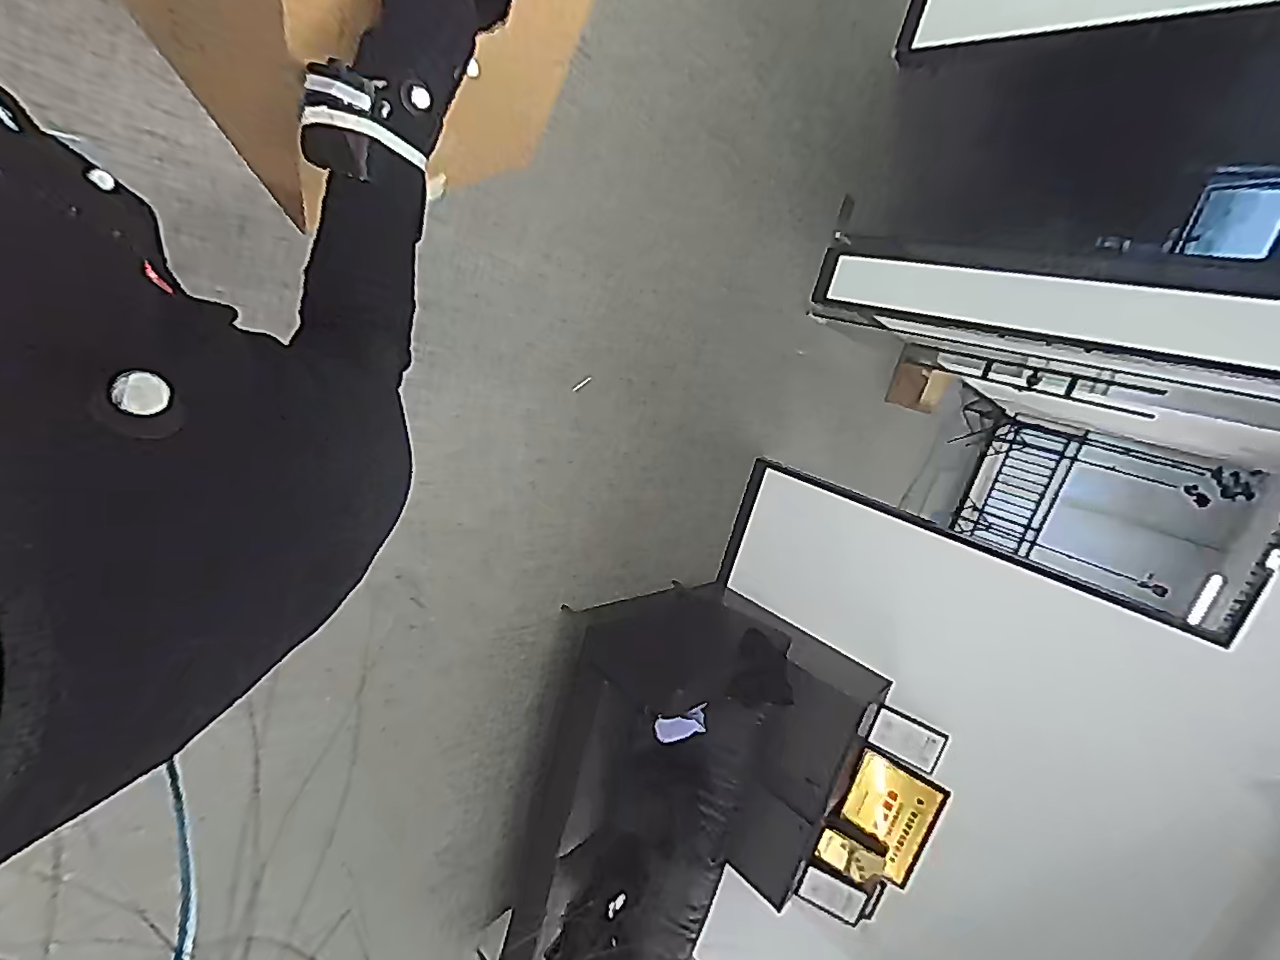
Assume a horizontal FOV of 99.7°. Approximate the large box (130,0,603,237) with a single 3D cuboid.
[{"bbox_3d":[-0.295,-0.532,0.519,0.320,0.320,0.408,-39,95,-32],"label":"large box"}]
